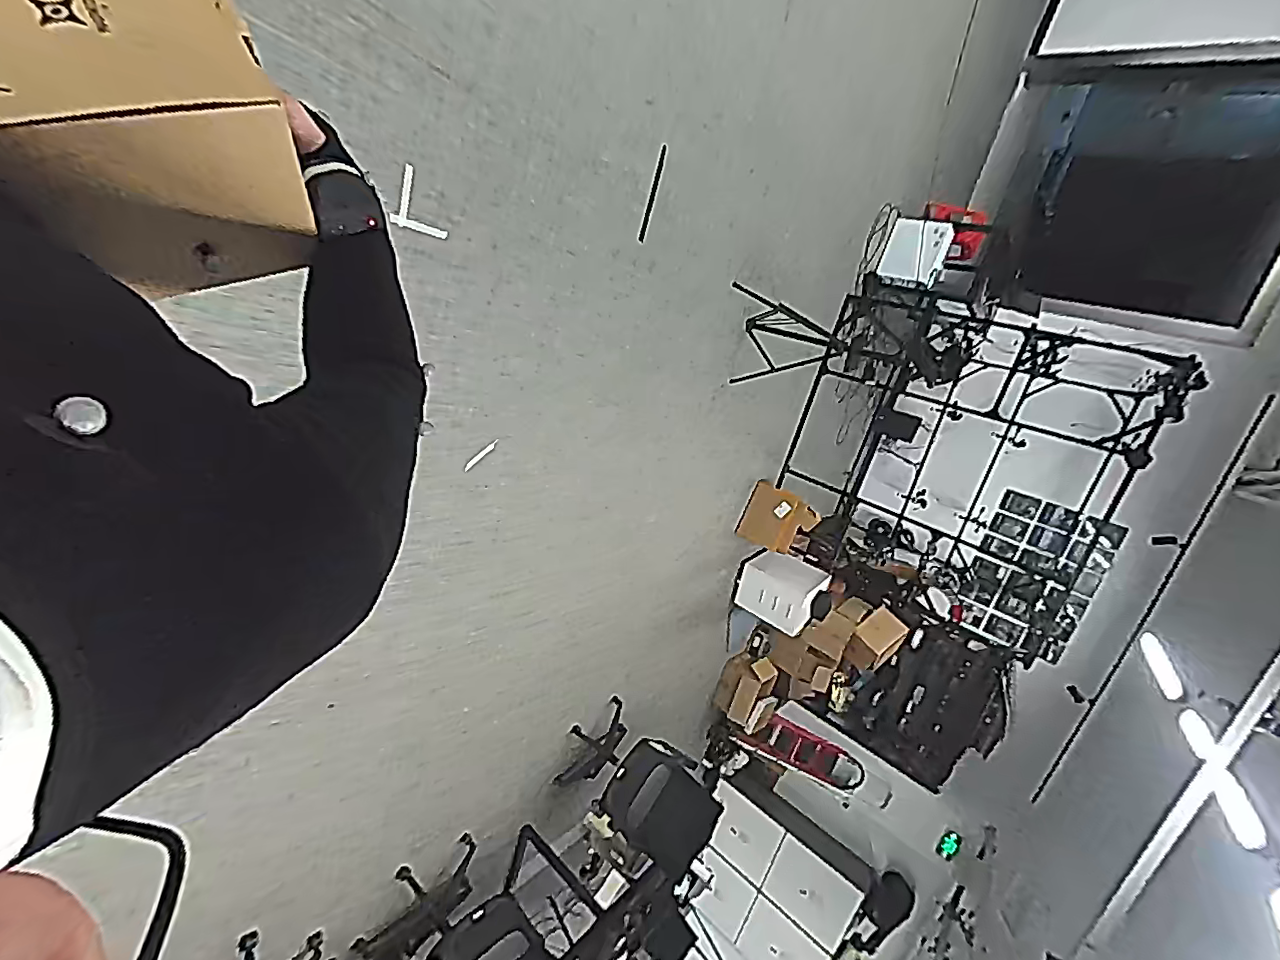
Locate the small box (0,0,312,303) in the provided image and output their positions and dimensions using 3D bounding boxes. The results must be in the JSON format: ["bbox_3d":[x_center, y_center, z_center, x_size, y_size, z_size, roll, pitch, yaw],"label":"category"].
[{"bbox_3d":[-0.391,-0.274,0.434,0.179,0.168,0.176,-27,172,-27],"label":"small box"}]
